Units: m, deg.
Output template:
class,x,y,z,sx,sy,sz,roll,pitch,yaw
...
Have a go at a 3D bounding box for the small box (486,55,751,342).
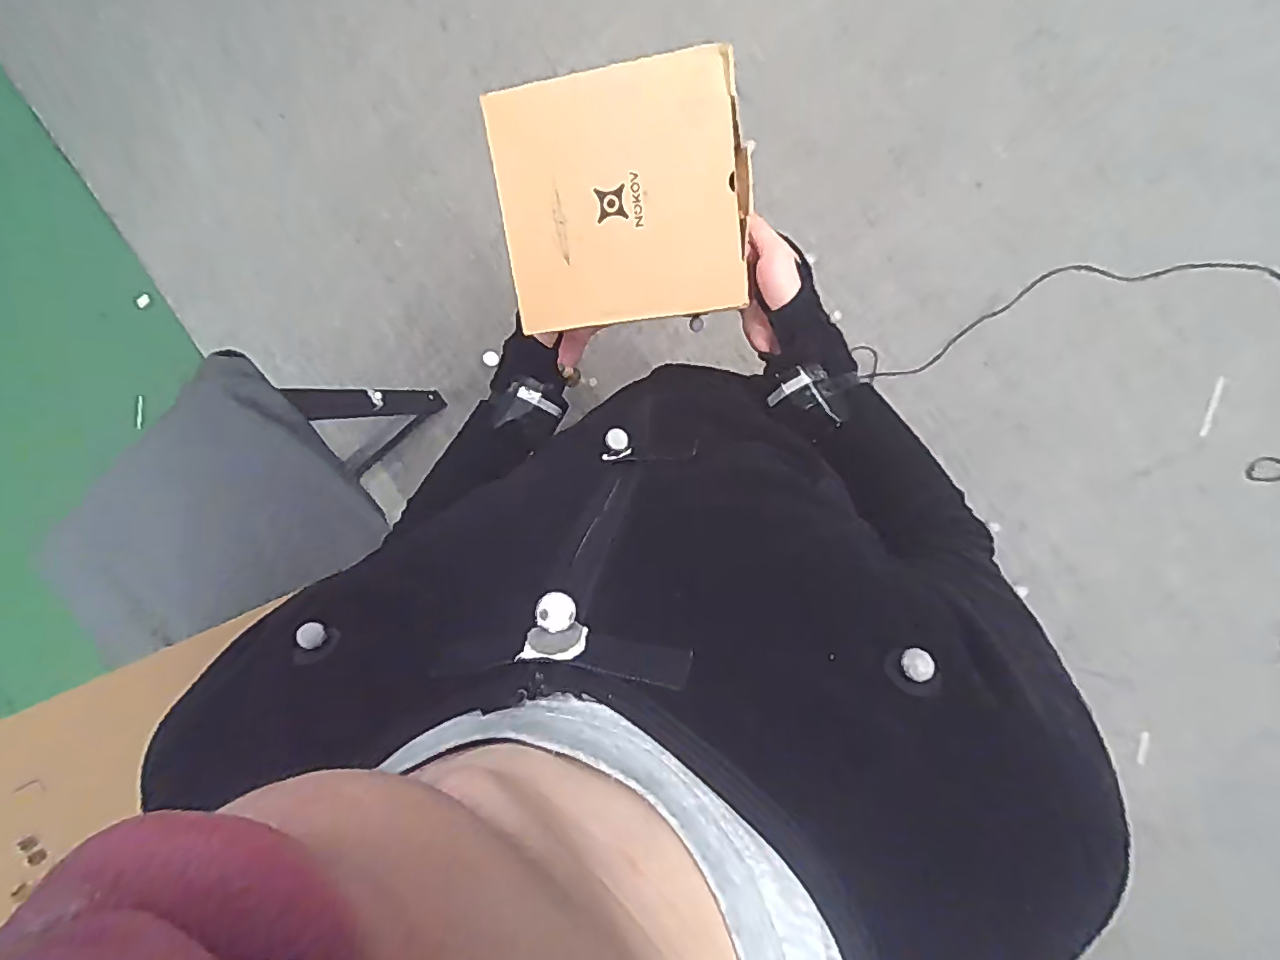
class,x,y,z,sx,sy,sz,roll,pitch,yaw
small box,-0.002,-0.216,0.462,0.179,0.176,0.168,-5,106,12
